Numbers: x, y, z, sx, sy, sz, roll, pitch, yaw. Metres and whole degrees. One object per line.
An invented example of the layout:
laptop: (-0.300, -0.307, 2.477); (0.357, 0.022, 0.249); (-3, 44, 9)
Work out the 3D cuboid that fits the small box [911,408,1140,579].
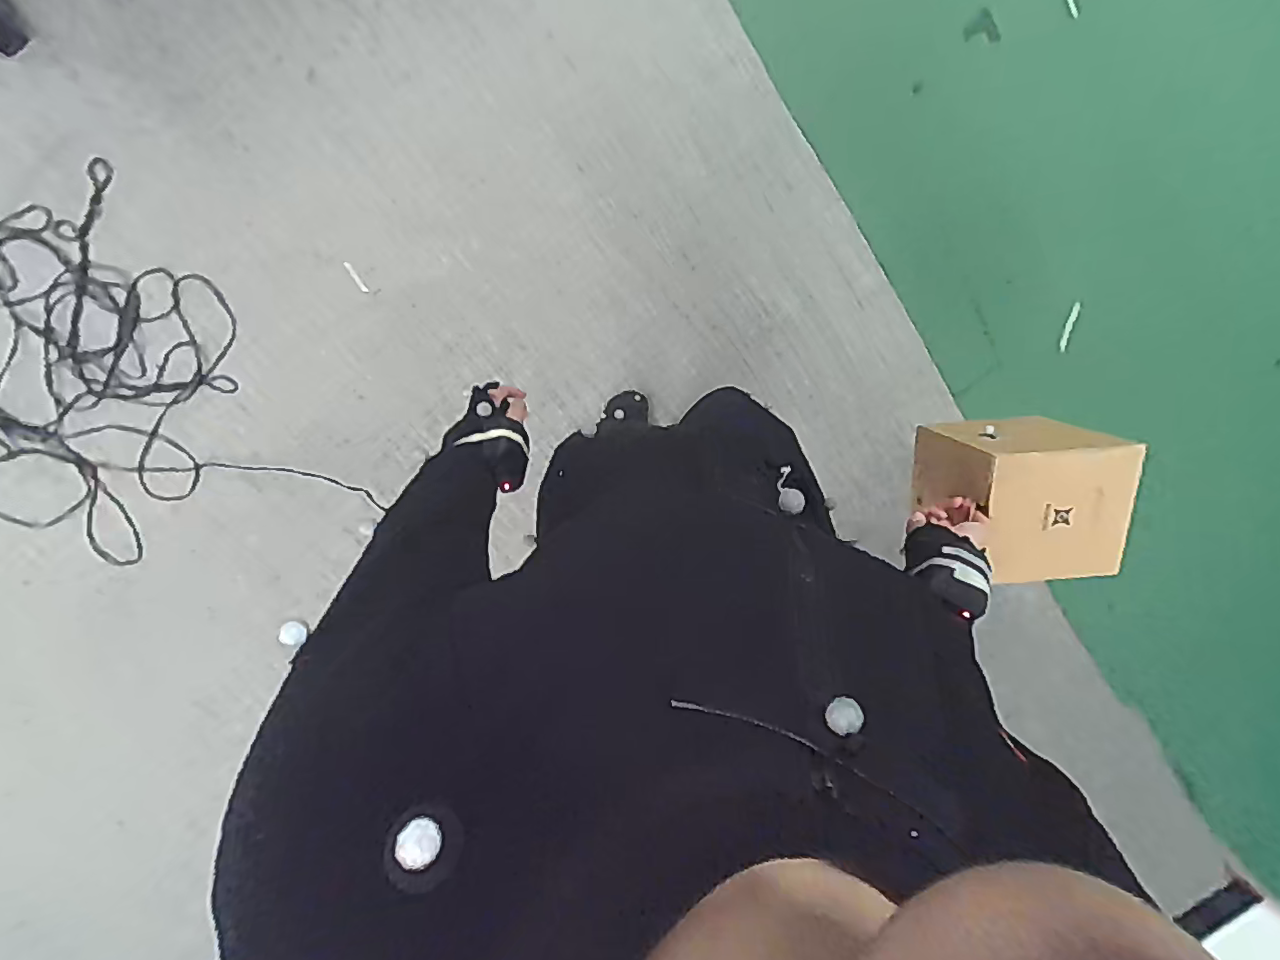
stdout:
small box: (0.478, 0.008, 0.702); (0.179, 0.176, 0.168); (-8, 108, -2)
